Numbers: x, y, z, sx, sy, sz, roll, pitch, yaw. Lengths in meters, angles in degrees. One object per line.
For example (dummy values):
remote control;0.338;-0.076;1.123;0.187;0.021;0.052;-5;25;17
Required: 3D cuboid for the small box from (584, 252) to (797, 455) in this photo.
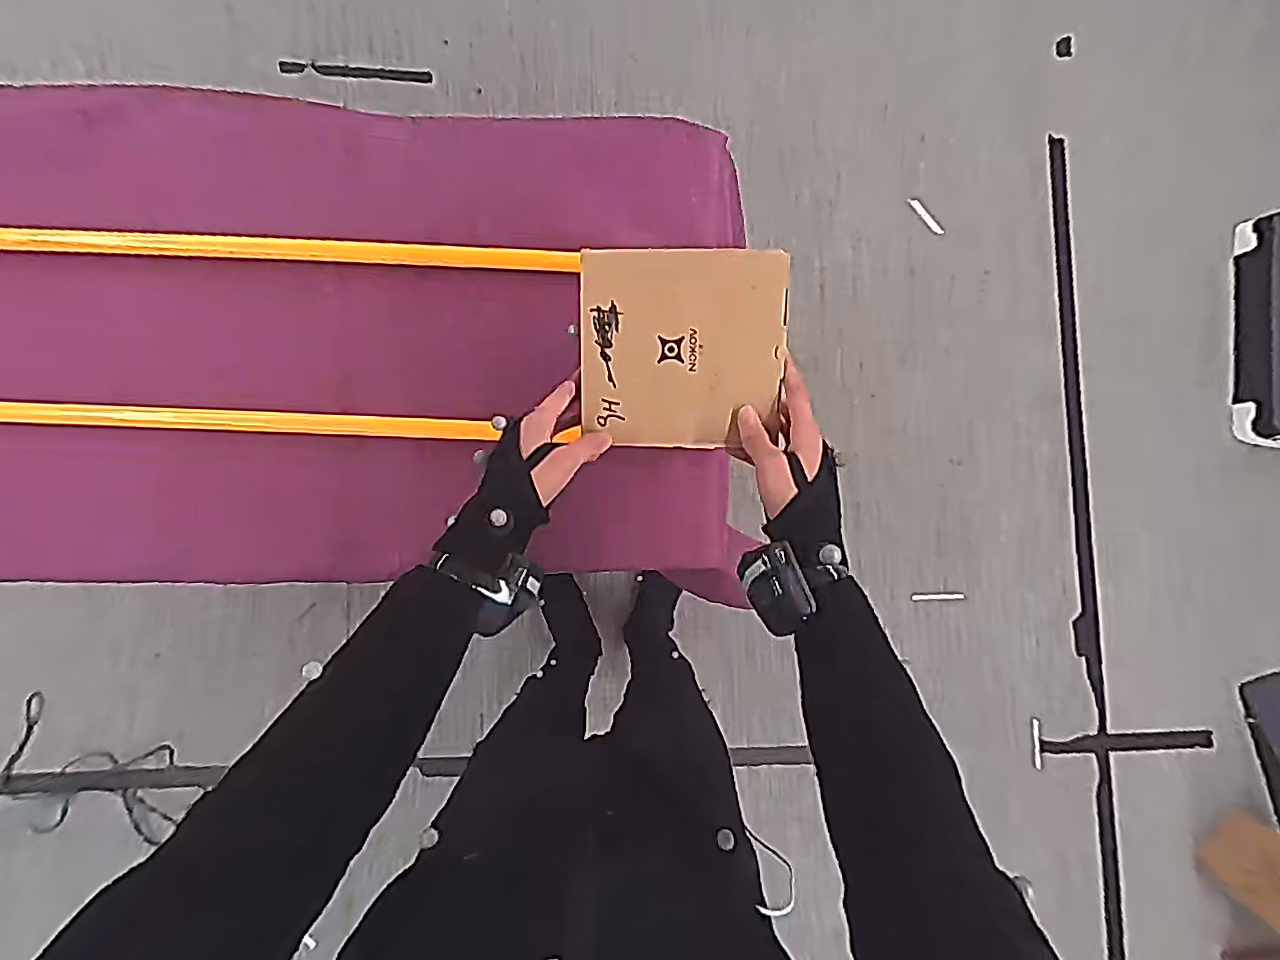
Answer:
small box;0.043;-0.120;0.536;0.179;0.176;0.168;2;101;3
